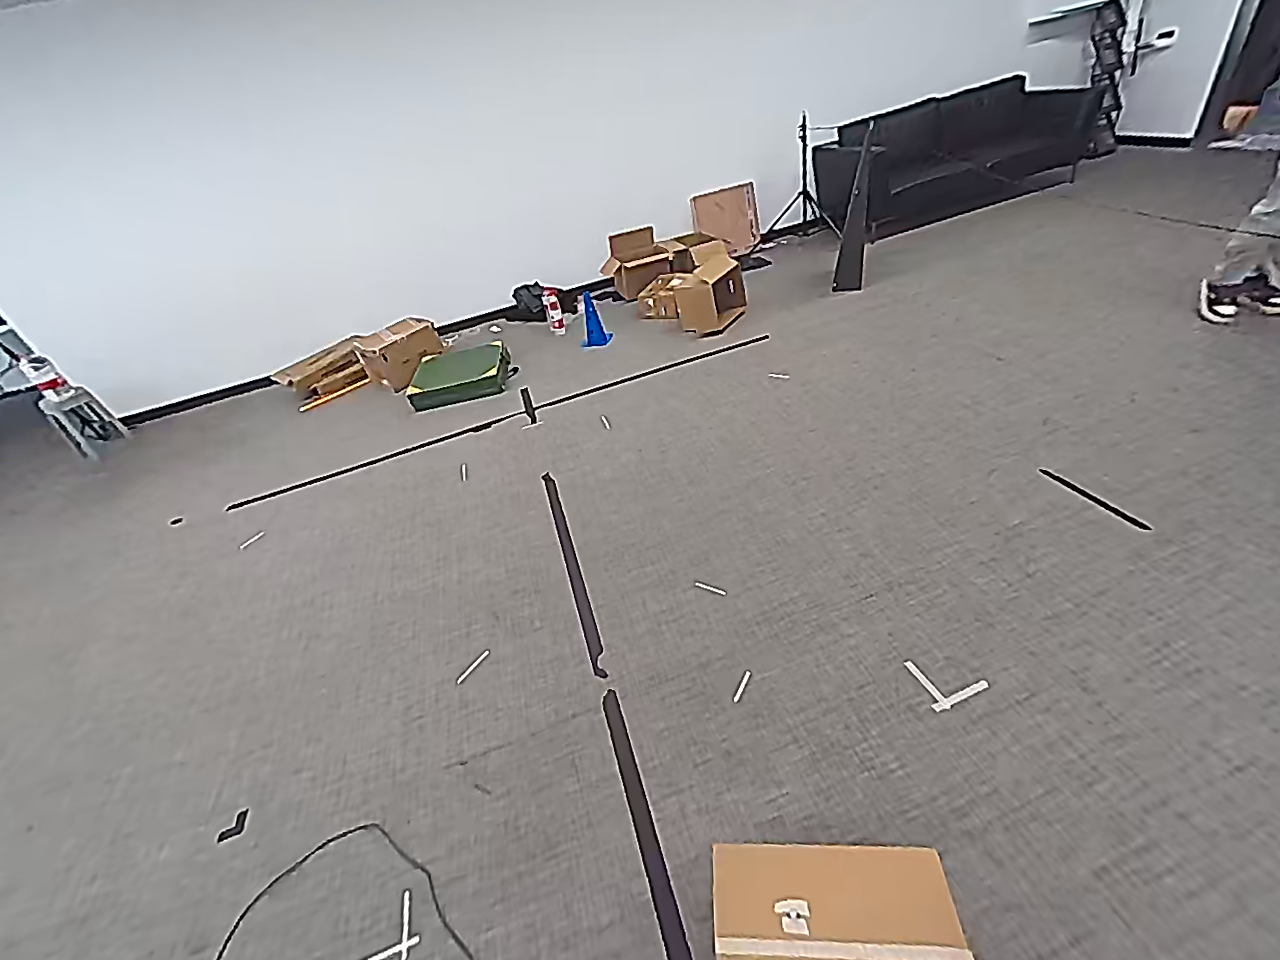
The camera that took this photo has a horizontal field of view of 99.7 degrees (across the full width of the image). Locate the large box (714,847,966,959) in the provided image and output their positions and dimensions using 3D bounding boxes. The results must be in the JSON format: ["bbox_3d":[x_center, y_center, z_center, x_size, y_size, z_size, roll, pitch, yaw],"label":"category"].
[{"bbox_3d":[0.359,0.903,0.983,0.408,0.320,0.320,-7,35,11],"label":"large box"}]
